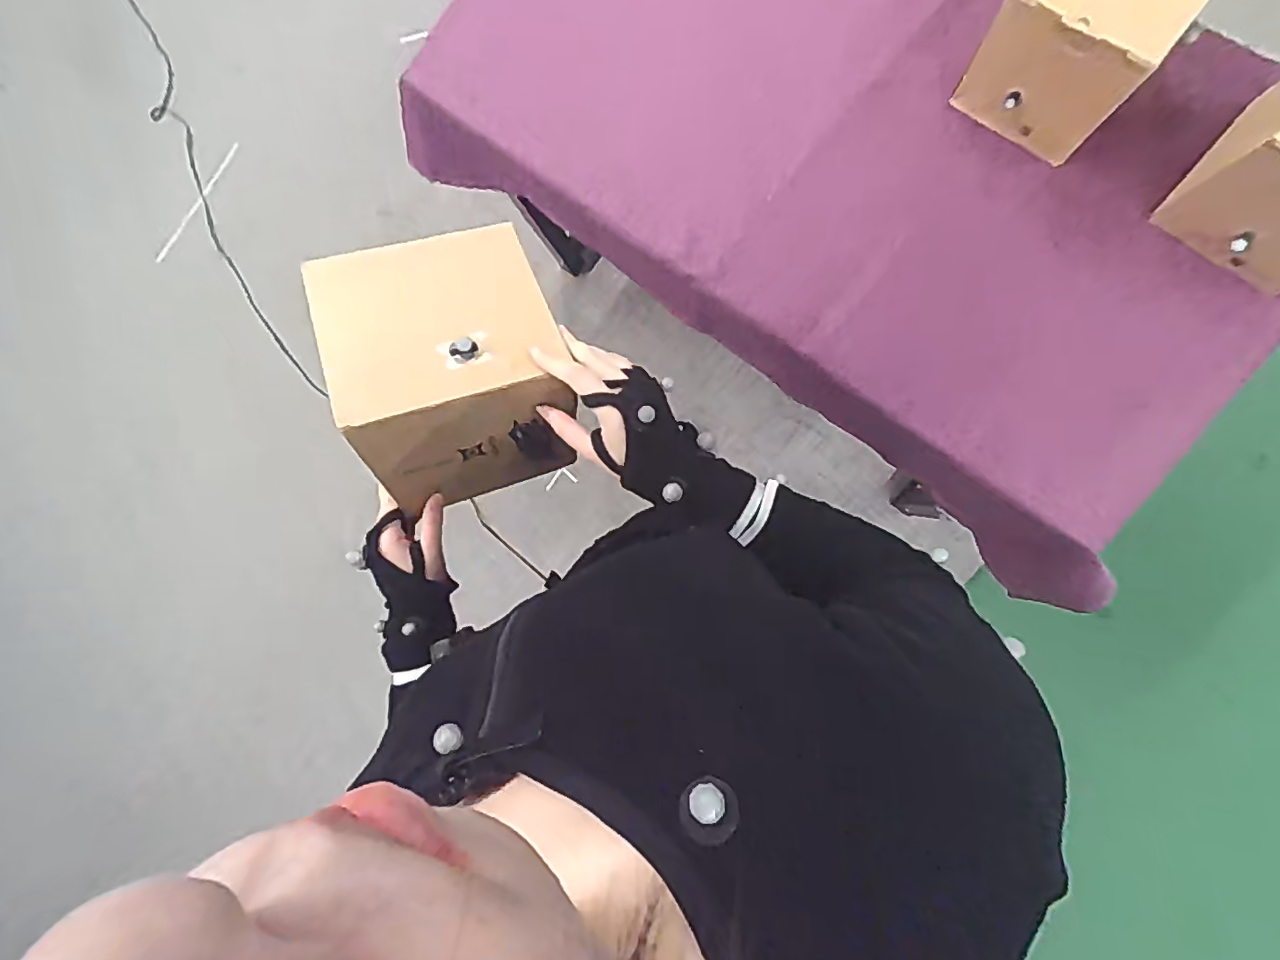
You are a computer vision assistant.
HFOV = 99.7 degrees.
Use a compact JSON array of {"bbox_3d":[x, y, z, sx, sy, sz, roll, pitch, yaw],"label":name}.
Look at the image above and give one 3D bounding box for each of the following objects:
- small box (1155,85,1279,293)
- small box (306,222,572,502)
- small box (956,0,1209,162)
[{"bbox_3d":[0.726,-0.335,0.571,0.168,0.176,0.179,41,98,9],"label":"small box"},{"bbox_3d":[-0.172,-0.106,0.495,0.179,0.168,0.176,-17,68,-14],"label":"small box"},{"bbox_3d":[0.508,-0.520,0.619,0.168,0.176,0.179,38,96,9],"label":"small box"}]
